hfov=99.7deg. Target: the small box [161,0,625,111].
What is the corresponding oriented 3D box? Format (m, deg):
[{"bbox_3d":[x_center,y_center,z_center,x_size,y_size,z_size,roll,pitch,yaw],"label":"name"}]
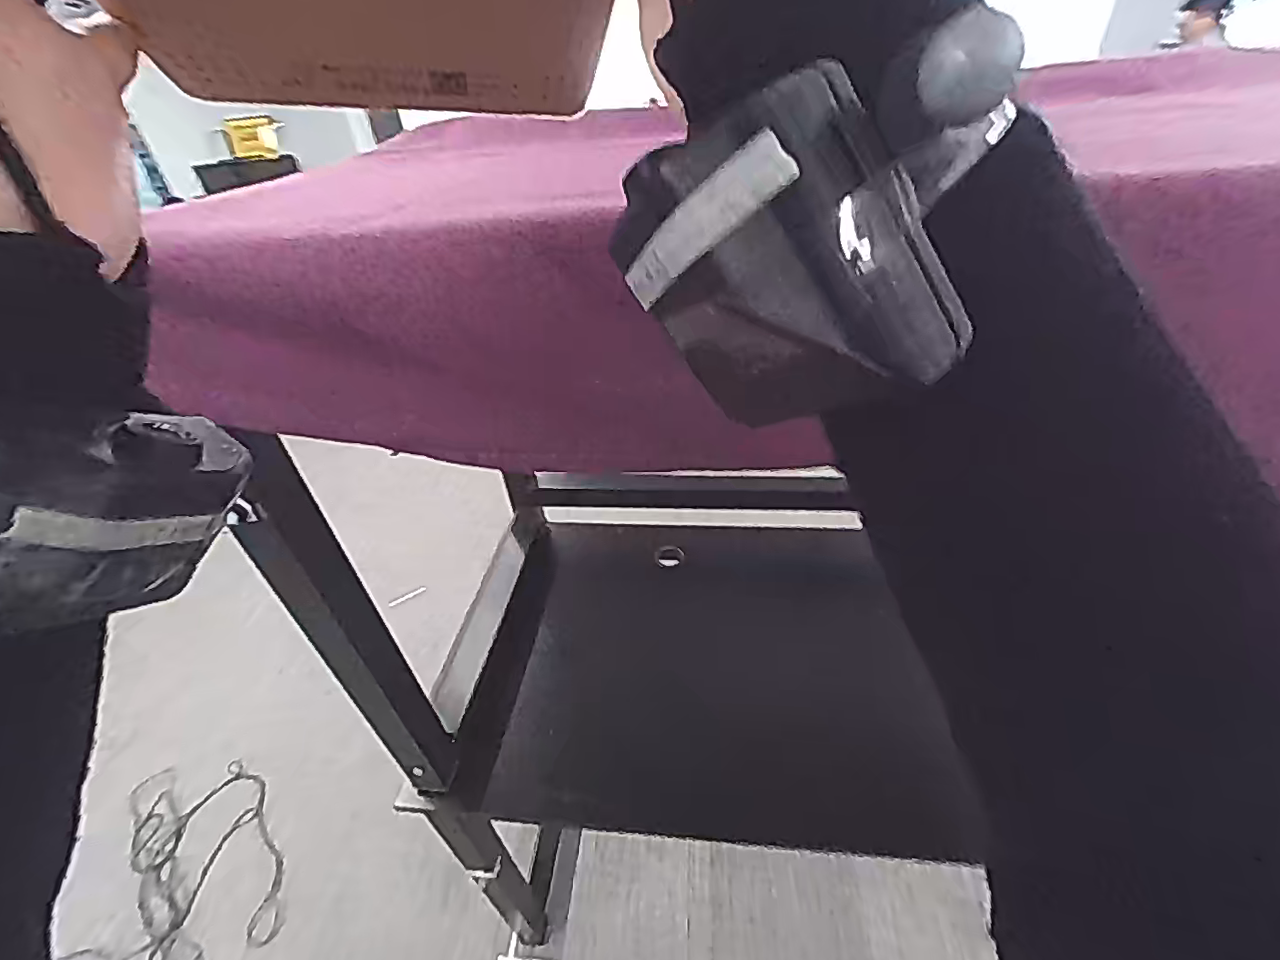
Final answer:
[{"bbox_3d":[-0.083,-0.242,0.143,0.168,0.179,0.176,-6,5,-13],"label":"small box"}]
